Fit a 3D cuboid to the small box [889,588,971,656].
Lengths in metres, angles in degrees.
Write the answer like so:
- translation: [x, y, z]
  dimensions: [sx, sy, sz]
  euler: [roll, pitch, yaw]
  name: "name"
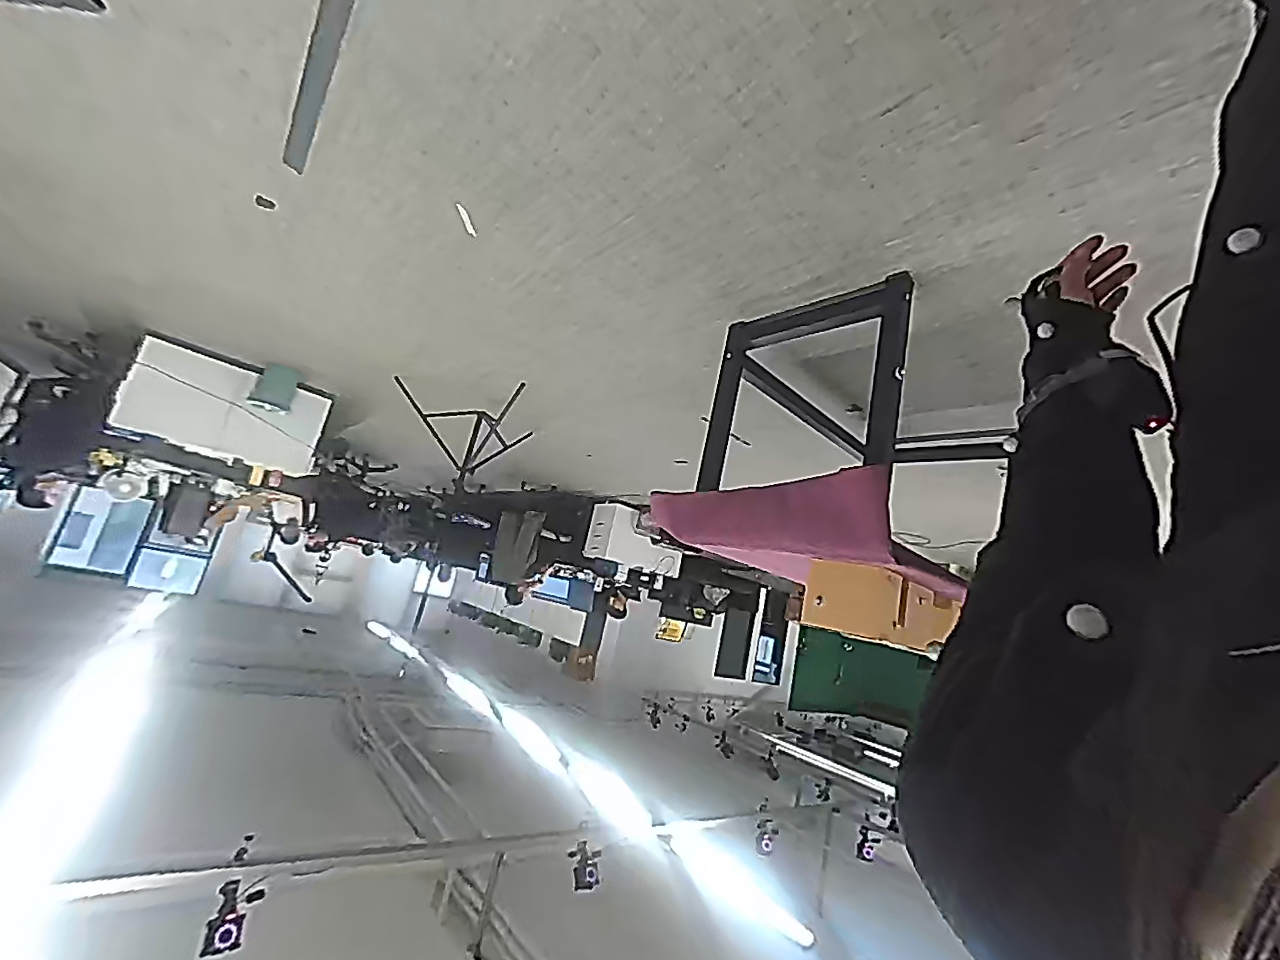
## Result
- translation: [0.890, 0.429, 1.649]
  dimensions: [0.168, 0.176, 0.179]
  euler: [21, 166, -36]
  name: "small box"
